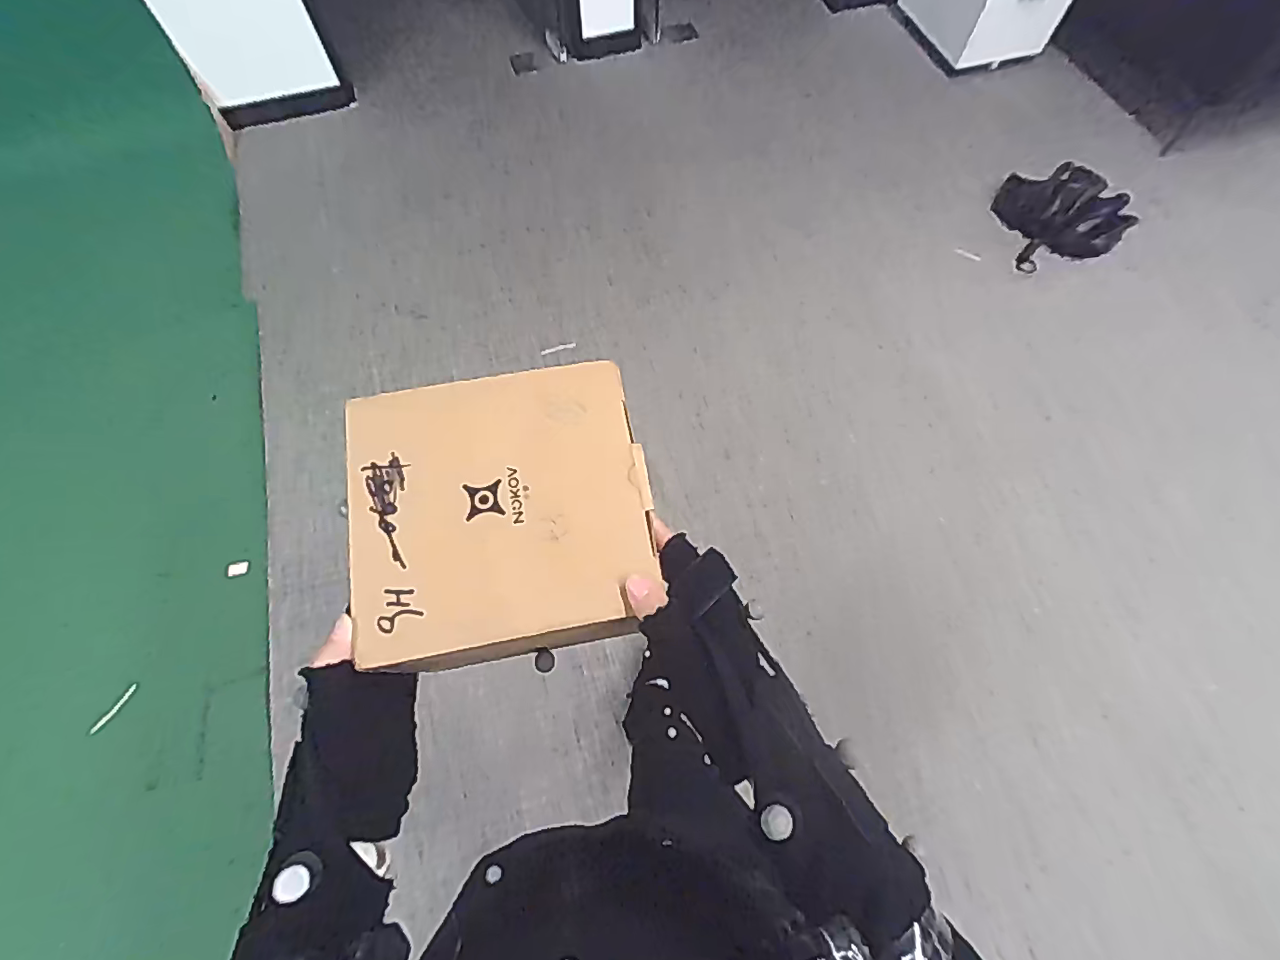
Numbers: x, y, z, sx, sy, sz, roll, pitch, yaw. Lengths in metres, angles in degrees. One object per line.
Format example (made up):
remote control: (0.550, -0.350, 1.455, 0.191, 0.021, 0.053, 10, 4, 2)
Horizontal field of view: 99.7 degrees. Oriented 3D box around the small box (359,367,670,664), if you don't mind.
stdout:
small box: (-0.087, 0.038, 0.408, 0.179, 0.176, 0.168, -9, 70, -7)
